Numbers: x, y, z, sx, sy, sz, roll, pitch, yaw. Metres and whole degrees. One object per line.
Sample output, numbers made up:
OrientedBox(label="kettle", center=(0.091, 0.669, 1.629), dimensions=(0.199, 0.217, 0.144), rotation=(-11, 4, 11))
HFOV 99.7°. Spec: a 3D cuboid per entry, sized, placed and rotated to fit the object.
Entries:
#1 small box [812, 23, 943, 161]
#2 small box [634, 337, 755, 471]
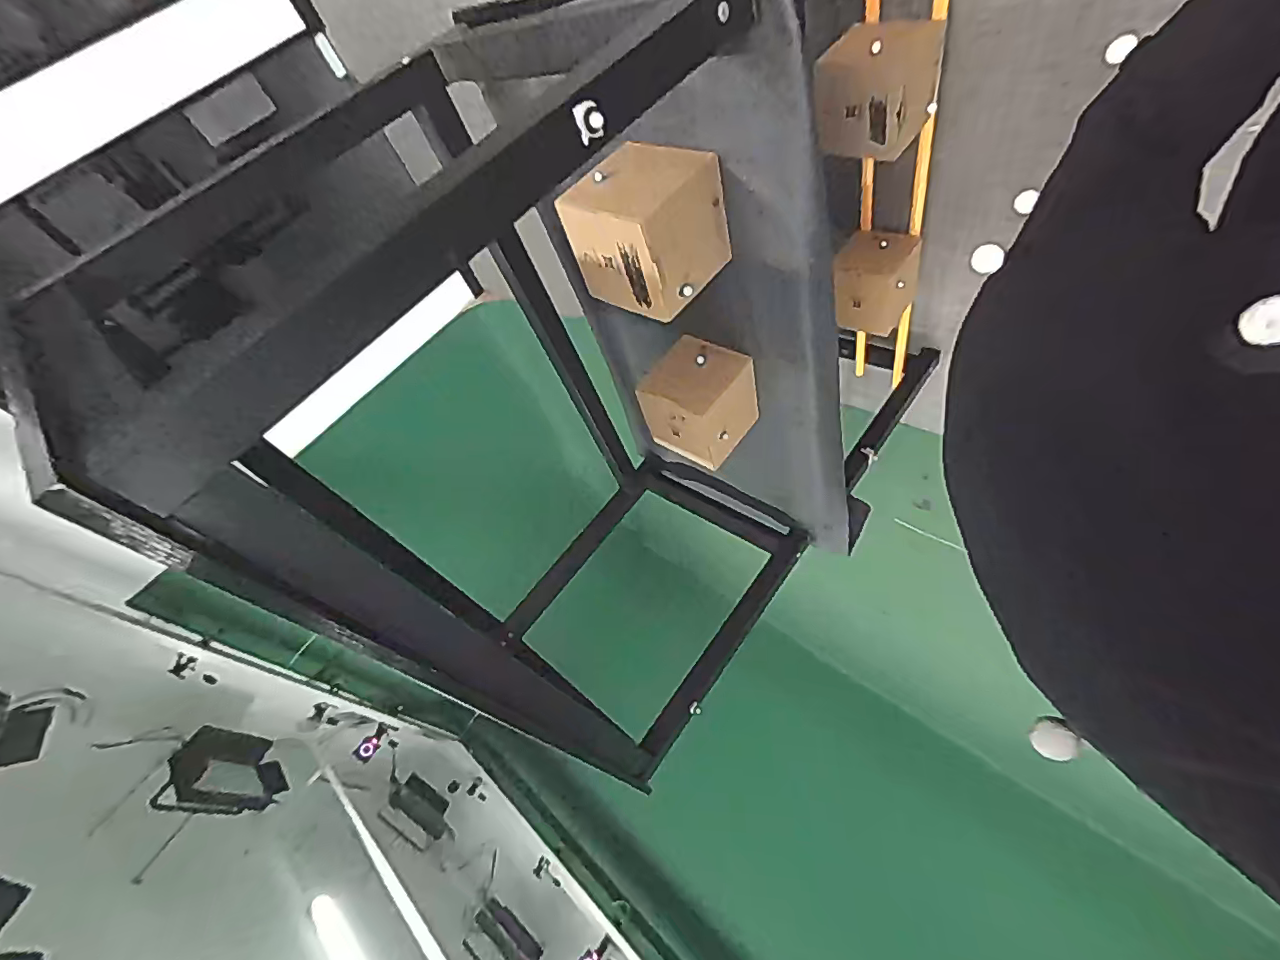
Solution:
OrientedBox(label="small box", center=(0.456, -0.753, 1.049), dimensions=(0.179, 0.176, 0.168), rotation=(29, 158, 31))
OrientedBox(label="small box", center=(0.119, -0.156, 1.096), dimensions=(0.168, 0.176, 0.179), rotation=(28, 158, 31))
